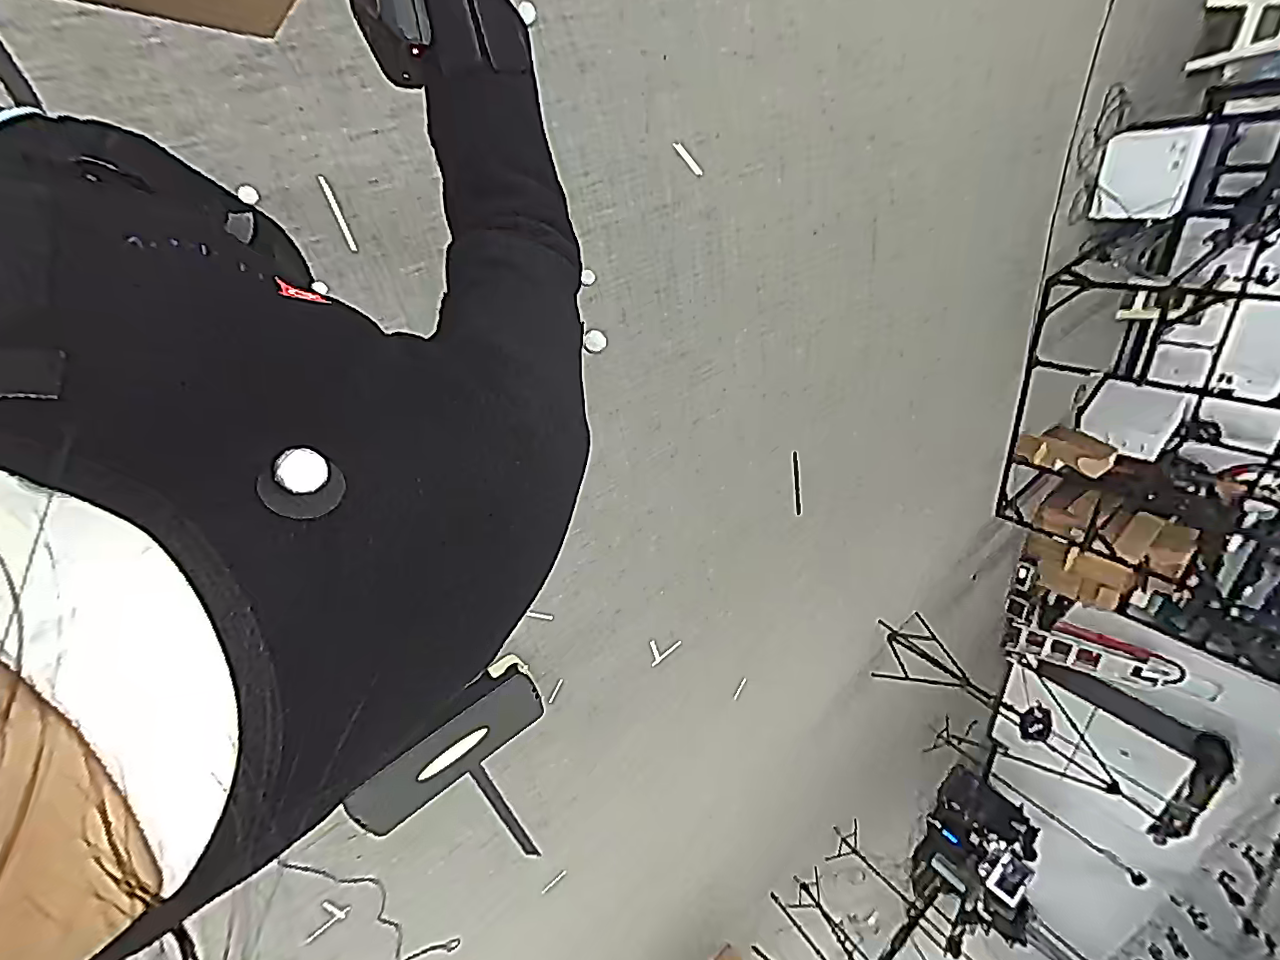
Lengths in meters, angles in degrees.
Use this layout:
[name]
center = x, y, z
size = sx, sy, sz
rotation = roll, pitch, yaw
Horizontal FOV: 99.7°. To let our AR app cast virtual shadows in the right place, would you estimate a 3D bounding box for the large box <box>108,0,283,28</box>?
[large box]
center = -0.406, -0.455, 0.227
size = 0.408, 0.320, 0.320
rotation = -17, 123, -35
